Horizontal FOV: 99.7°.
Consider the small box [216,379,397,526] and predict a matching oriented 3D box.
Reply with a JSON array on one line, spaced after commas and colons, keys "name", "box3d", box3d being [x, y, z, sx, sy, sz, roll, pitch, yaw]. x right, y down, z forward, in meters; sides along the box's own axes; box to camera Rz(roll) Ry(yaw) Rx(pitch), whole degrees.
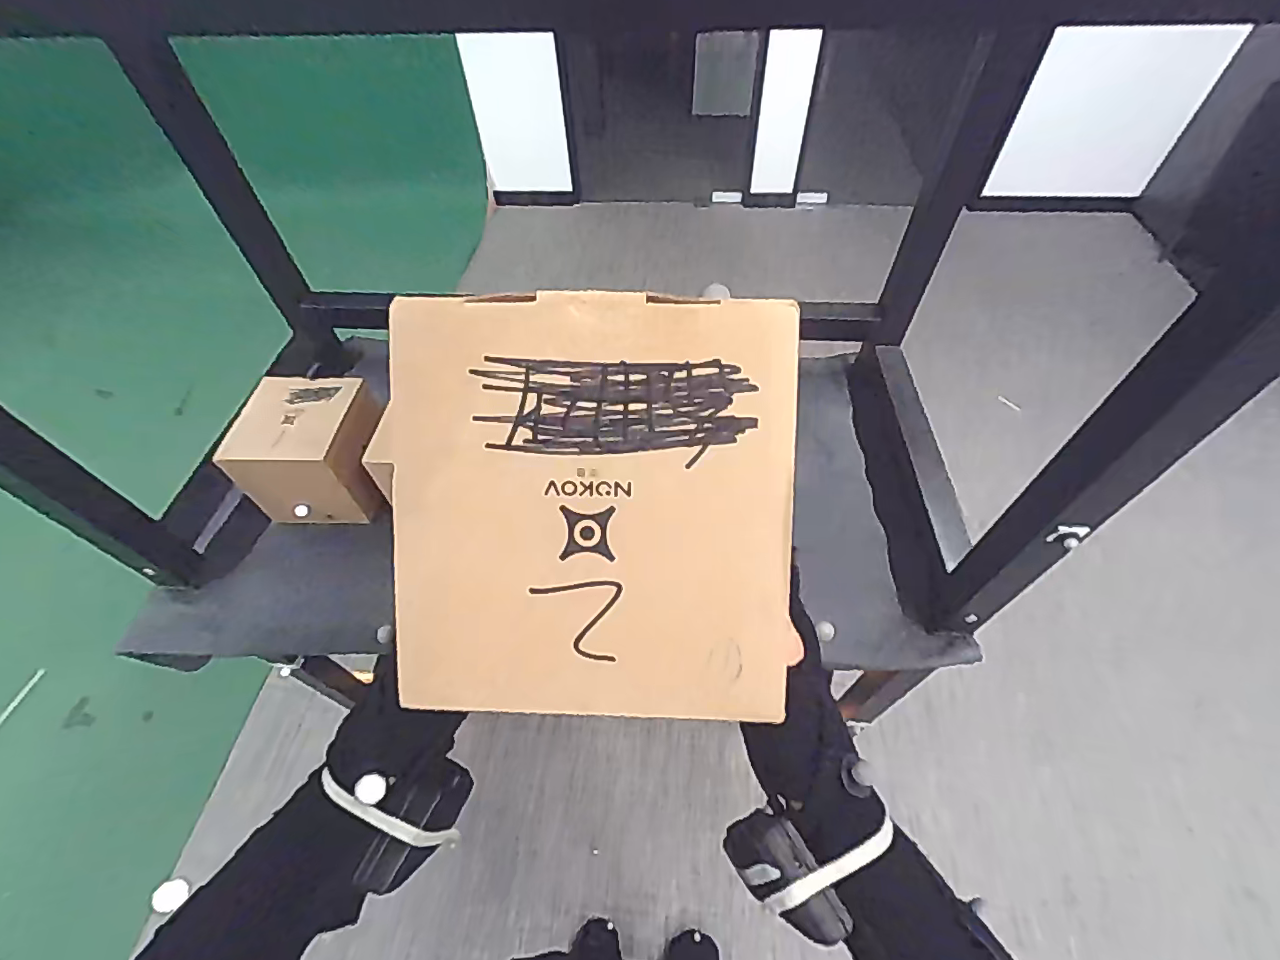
[{"name": "small box", "box3d": [-0.524, -0.044, 0.886, 0.168, 0.176, 0.179, 0, 52, 3]}]
